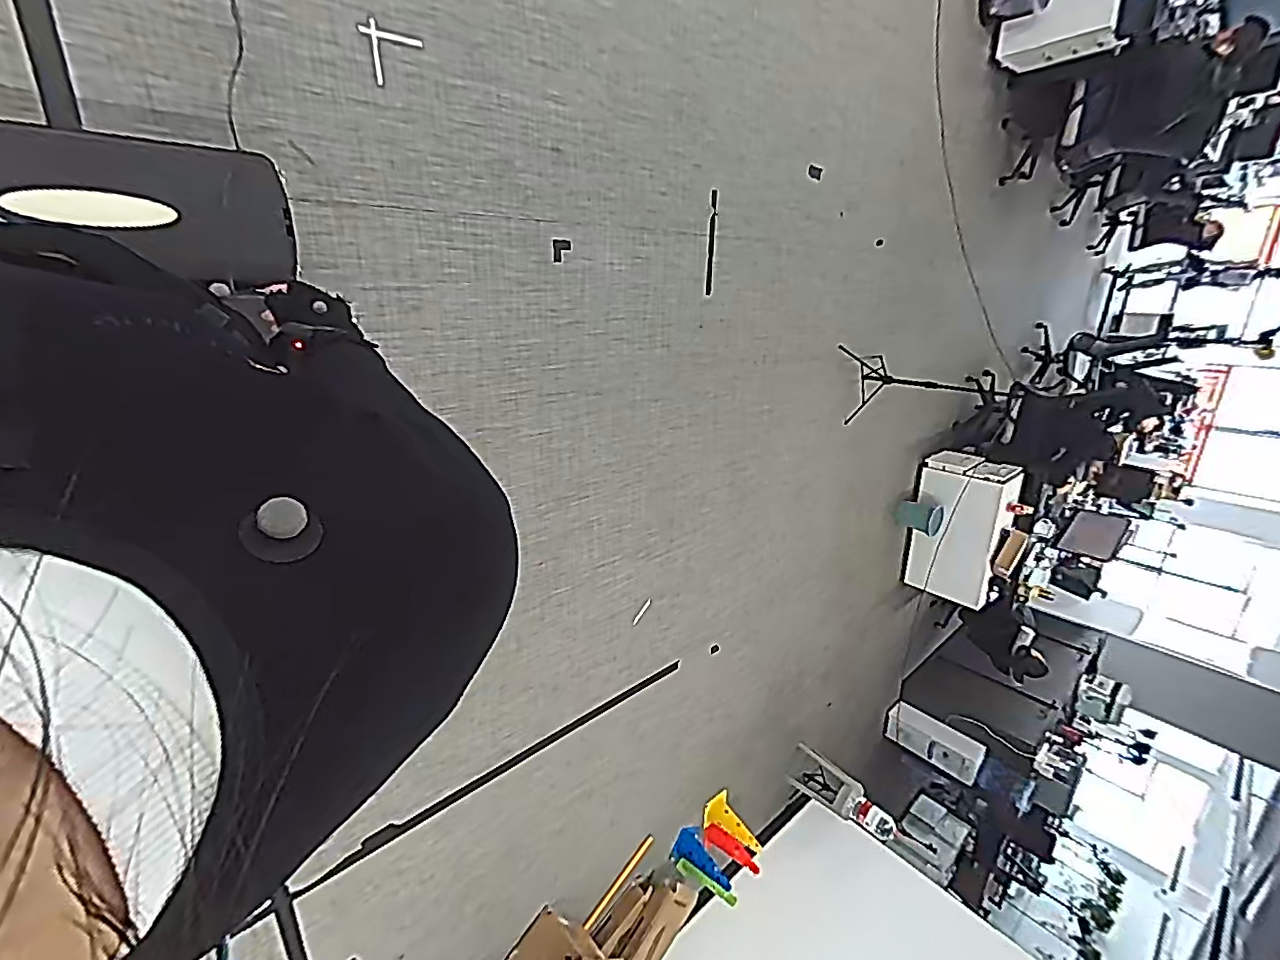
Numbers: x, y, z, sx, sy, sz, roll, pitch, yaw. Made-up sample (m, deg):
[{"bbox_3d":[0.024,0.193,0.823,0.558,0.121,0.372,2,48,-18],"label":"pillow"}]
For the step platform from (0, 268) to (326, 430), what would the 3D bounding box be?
[{"bbox_3d":[-1.046,-0.284,1.122,0.684,0.204,0.286,-16,114,-37],"label":"step platform"}]
